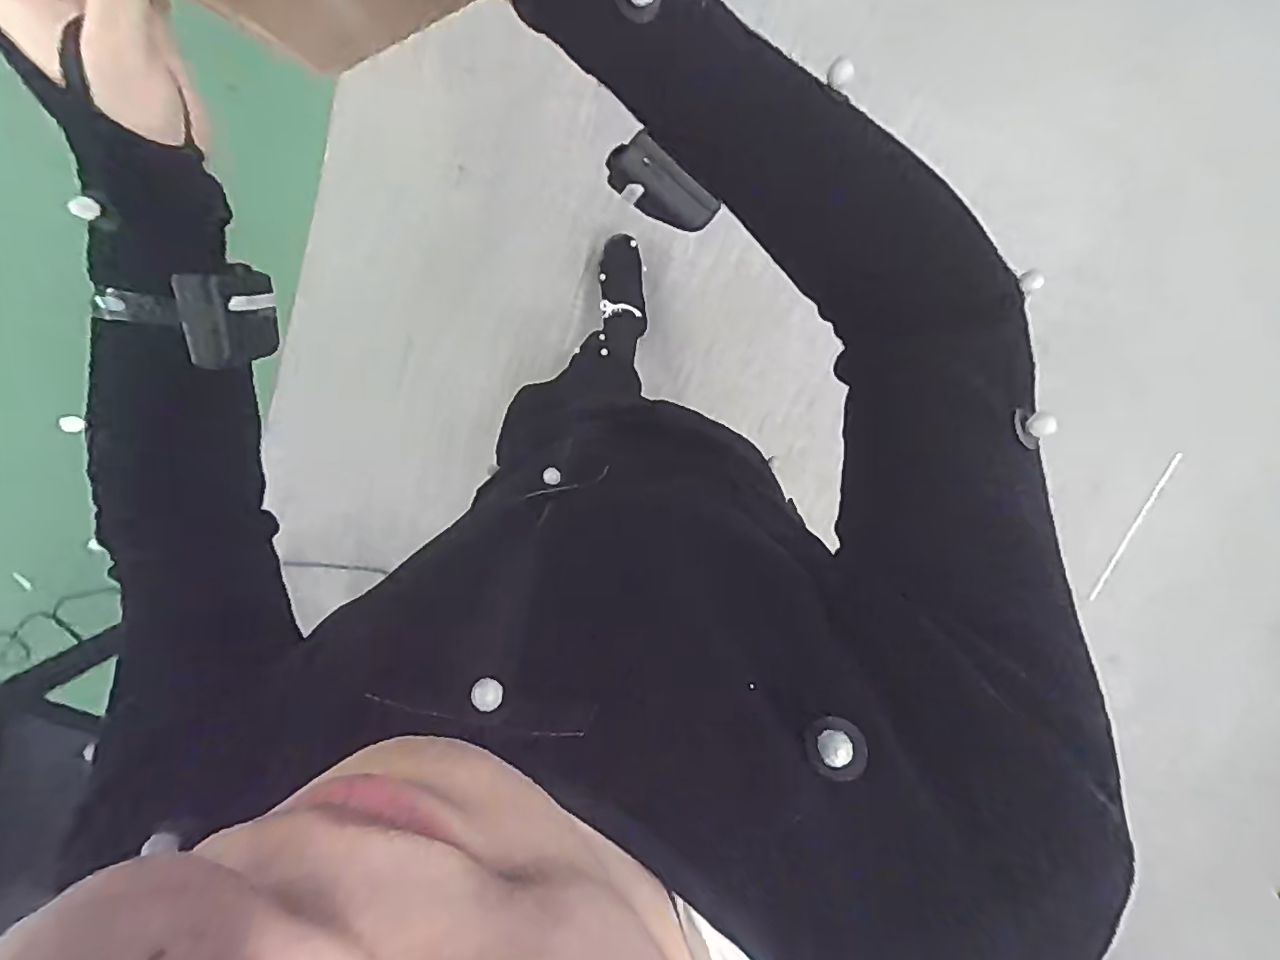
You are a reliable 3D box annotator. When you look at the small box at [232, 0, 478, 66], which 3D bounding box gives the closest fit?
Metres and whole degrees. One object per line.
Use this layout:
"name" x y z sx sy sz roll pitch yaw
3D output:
"small box" -0.183 -0.370 0.285 0.179 0.176 0.168 -16 103 14
